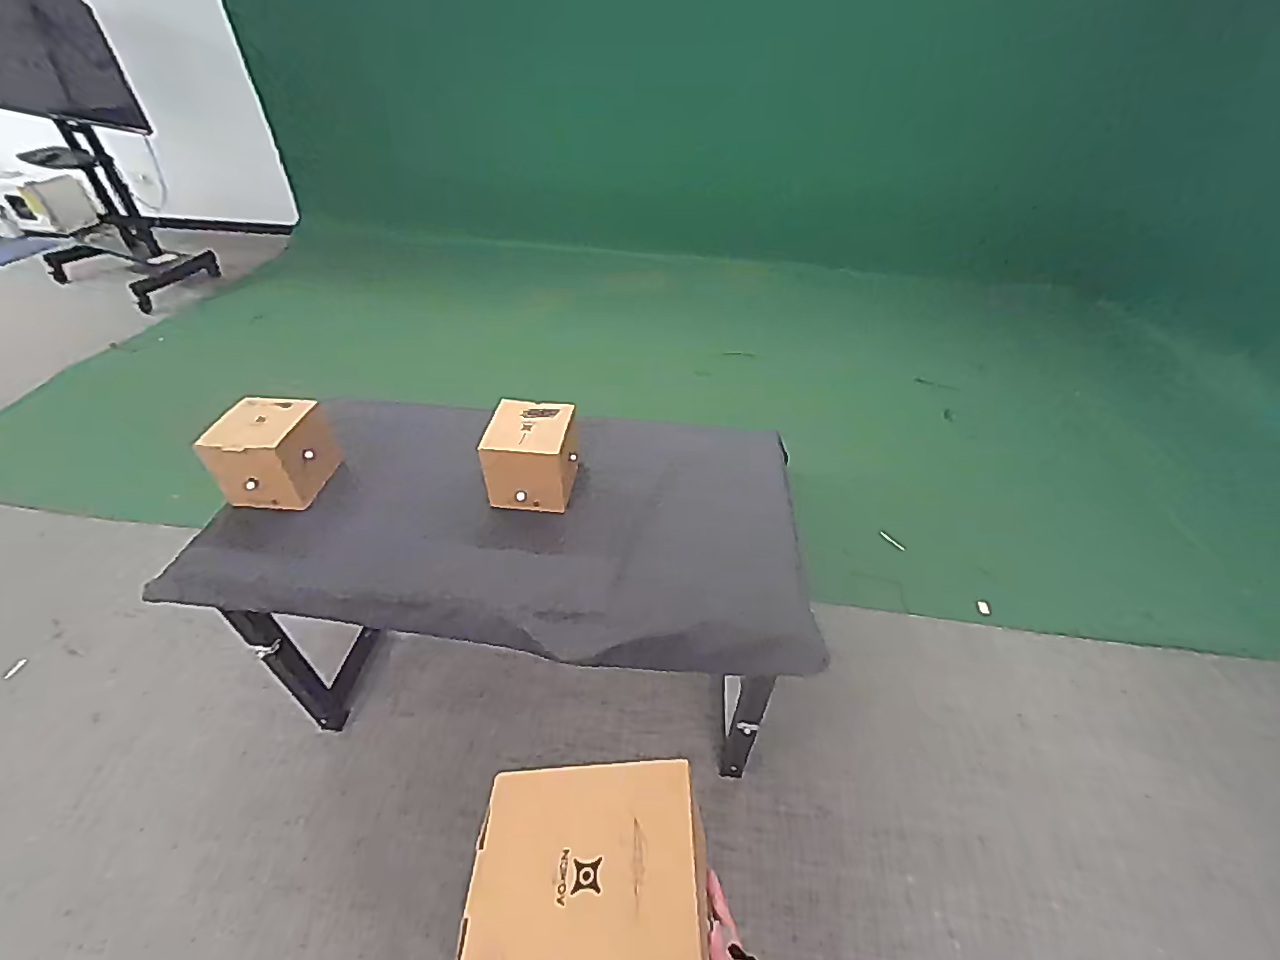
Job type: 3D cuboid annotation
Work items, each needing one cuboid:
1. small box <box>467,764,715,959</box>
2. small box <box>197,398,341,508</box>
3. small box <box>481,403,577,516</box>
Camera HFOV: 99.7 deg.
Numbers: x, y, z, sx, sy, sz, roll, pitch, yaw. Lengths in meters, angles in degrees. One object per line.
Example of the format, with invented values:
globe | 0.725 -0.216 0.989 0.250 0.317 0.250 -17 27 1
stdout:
small box | -0.029 0.373 0.470 0.179 0.176 0.168 -6 38 4
small box | -0.785 -0.057 1.171 0.168 0.176 0.179 4 43 1
small box | -0.233 -0.045 1.189 0.168 0.176 0.179 5 43 3
